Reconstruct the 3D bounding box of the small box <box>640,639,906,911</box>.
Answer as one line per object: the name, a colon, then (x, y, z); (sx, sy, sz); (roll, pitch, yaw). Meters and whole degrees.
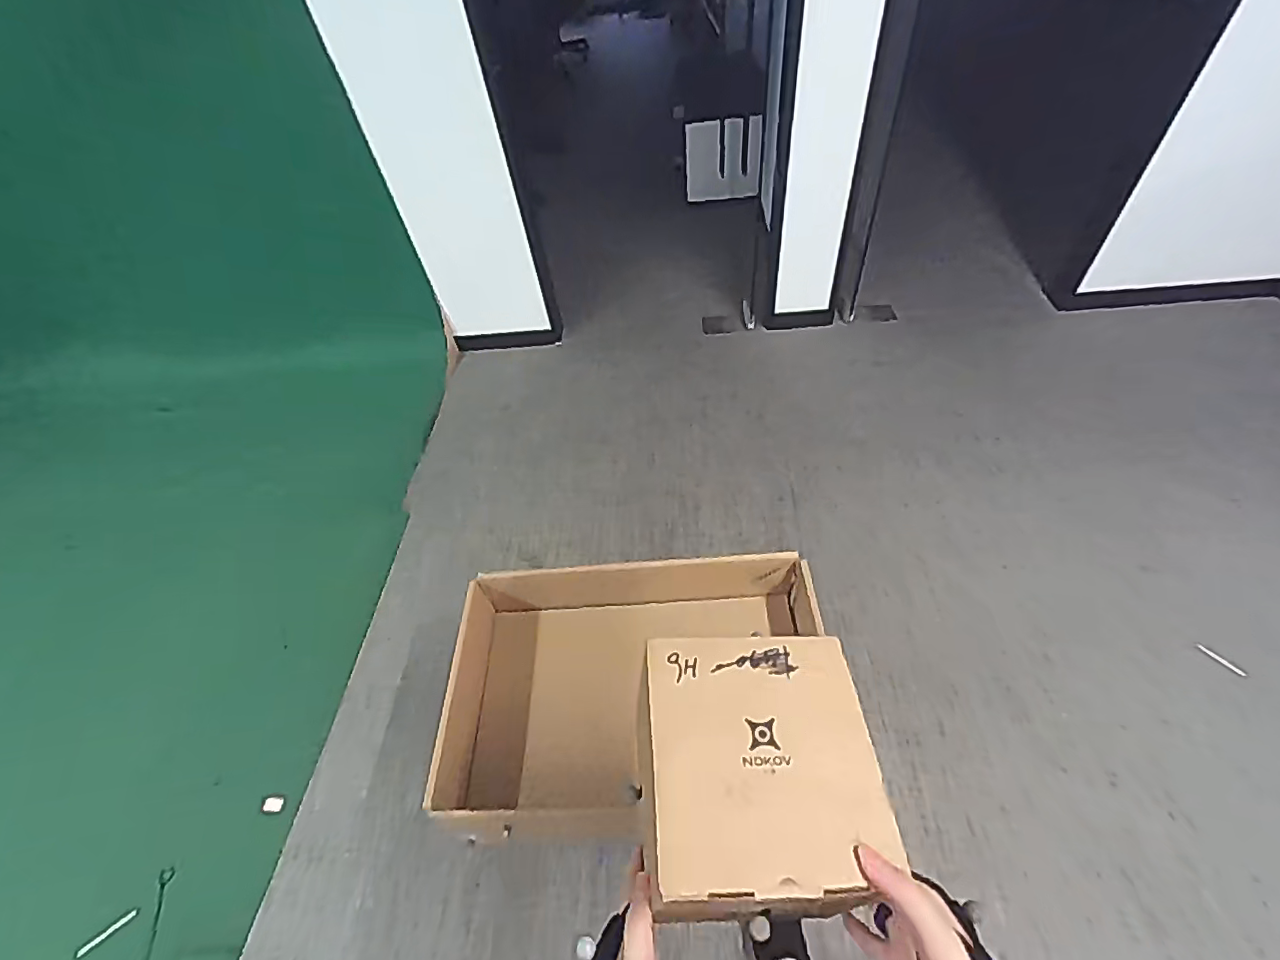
small box: (0.088, 0.253, 0.462); (0.168, 0.176, 0.179); (1, 47, -4)
